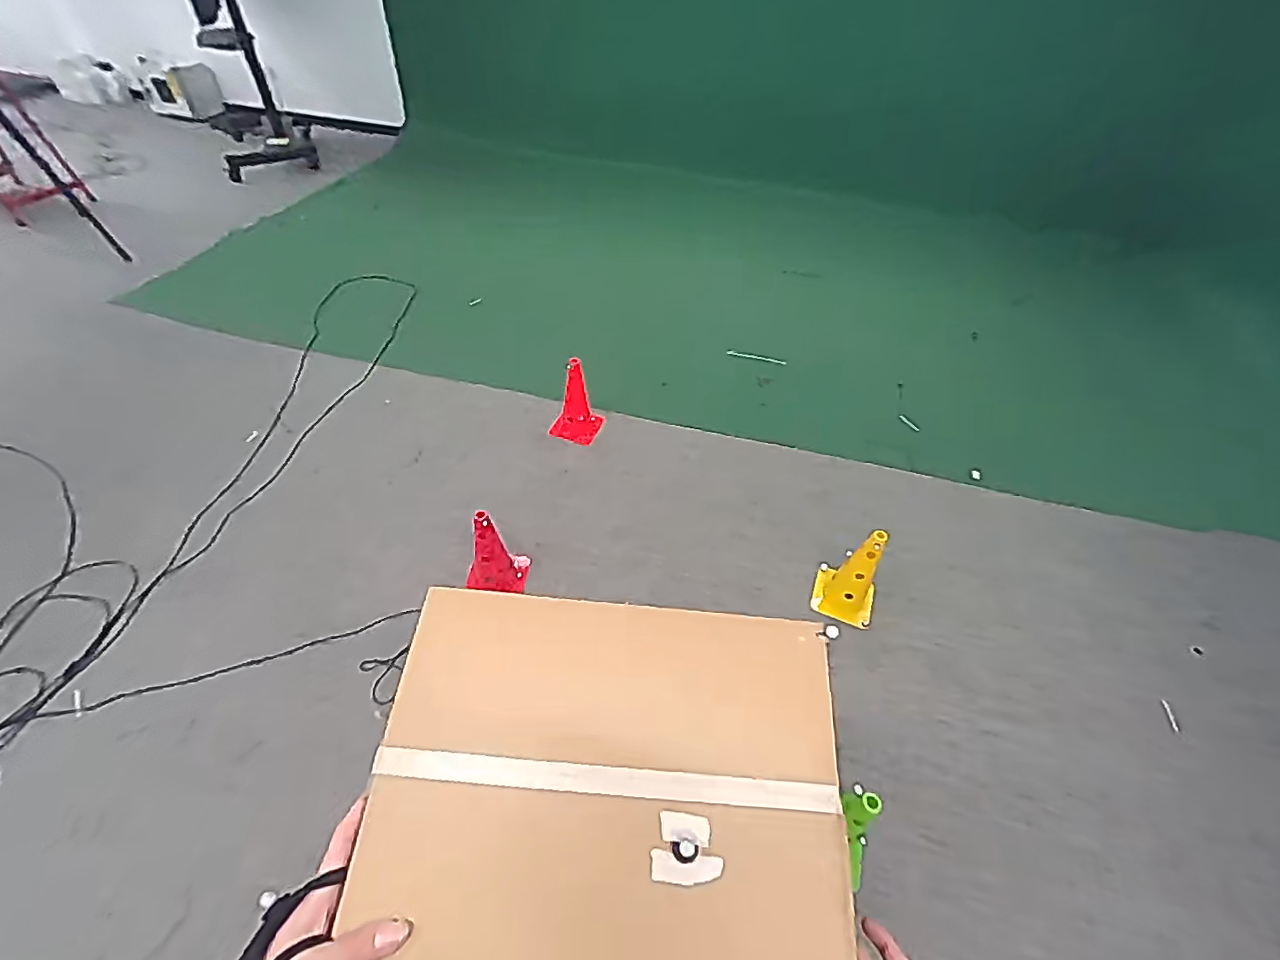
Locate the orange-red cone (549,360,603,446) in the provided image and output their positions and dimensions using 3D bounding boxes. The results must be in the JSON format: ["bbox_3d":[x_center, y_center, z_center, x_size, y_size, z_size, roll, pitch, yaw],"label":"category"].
[{"bbox_3d":[-0.280,-0.352,2.298,0.199,0.360,0.198,17,47,13],"label":"orange-red cone"}]

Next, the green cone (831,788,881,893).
[{"bbox_3d":[0.488,0.813,1.287,0.200,0.368,0.202,17,47,10],"label":"green cone"}]

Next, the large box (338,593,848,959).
[{"bbox_3d":[-0.035,0.339,0.611,0.408,0.320,0.320,6,60,-1],"label":"large box"}]
